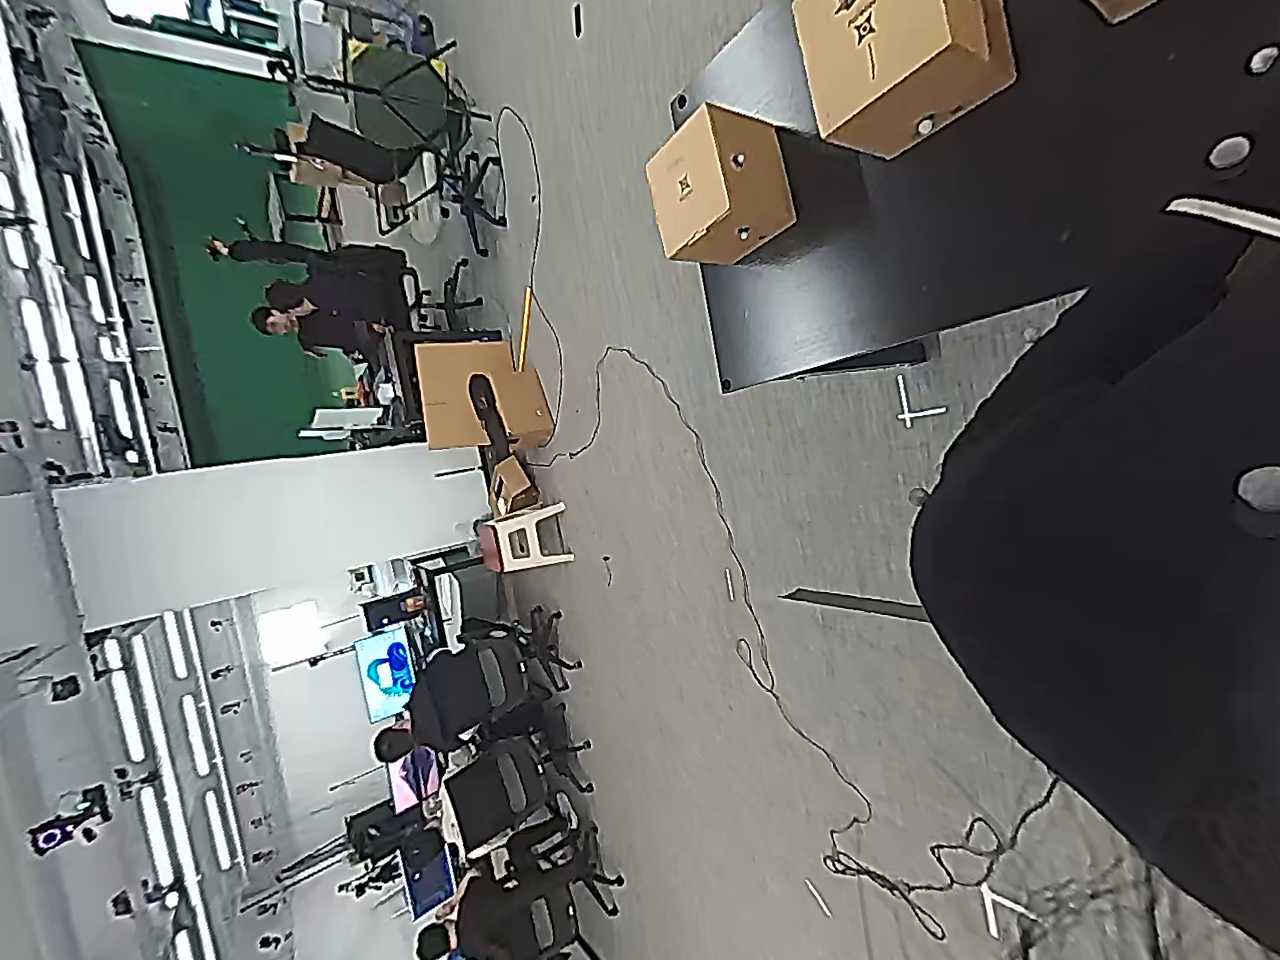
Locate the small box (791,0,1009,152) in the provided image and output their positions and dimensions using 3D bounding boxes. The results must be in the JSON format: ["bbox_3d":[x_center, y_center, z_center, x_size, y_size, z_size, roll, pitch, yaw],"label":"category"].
[{"bbox_3d":[0.315,-0.537,0.658,0.168,0.176,0.179,-9,94,55],"label":"small box"}]

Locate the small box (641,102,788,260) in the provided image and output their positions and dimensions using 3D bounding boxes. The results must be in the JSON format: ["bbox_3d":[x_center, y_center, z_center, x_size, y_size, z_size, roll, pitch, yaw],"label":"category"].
[{"bbox_3d":[0.130,-0.498,0.932,0.168,0.176,0.179,-14,88,54],"label":"small box"}]
